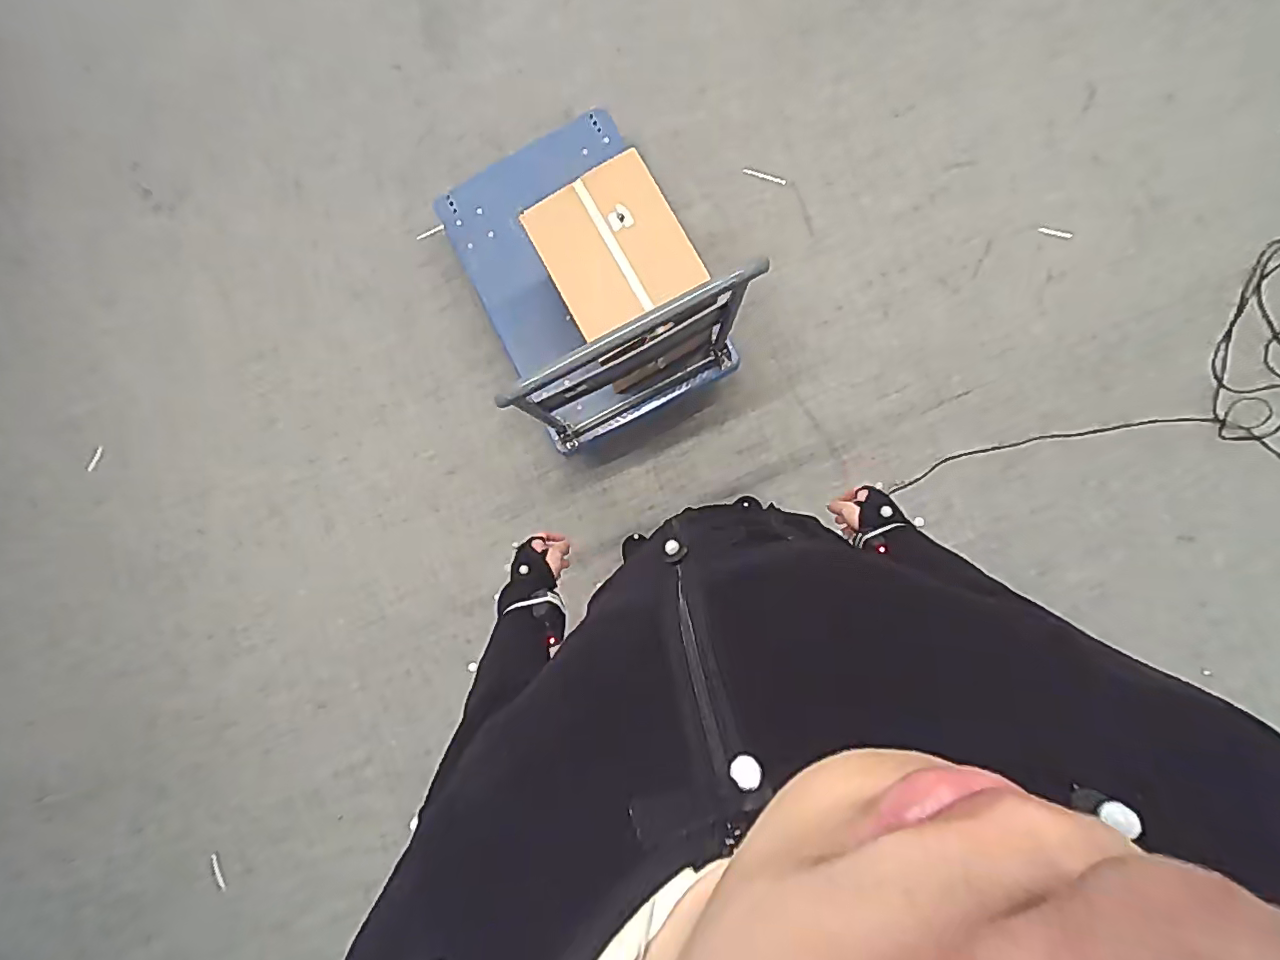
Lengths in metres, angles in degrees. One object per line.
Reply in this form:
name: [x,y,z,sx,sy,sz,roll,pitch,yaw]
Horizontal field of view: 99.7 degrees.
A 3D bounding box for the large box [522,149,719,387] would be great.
large box: [-0.033,-0.507,1.375,0.320,0.320,0.408,-29,84,2]
